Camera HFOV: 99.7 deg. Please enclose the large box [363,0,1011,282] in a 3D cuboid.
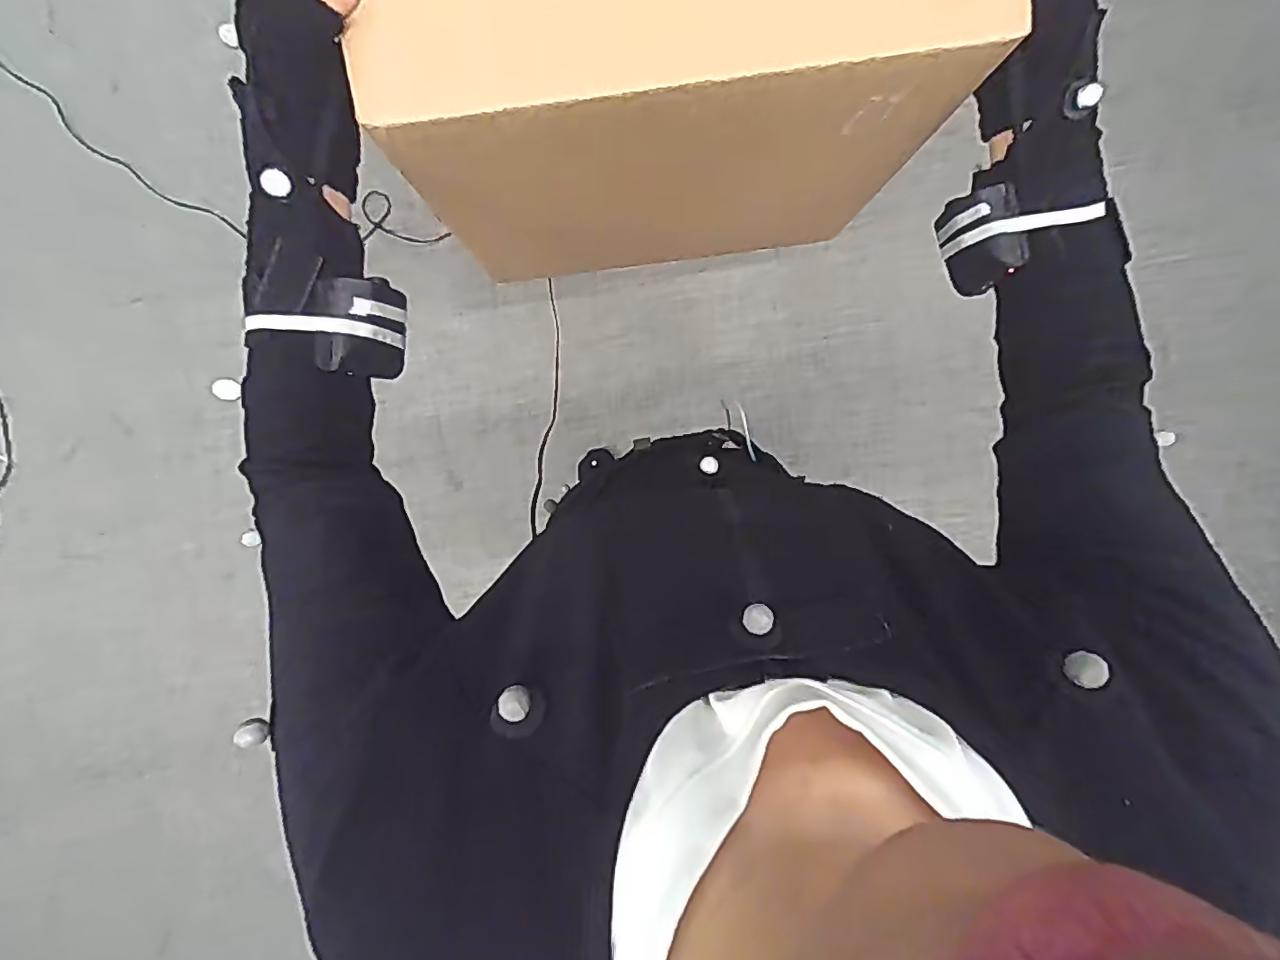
[{"bbox_3d":[0.010,-0.401,0.476,0.408,0.320,0.320,-8,94,-1],"label":"large box"}]
